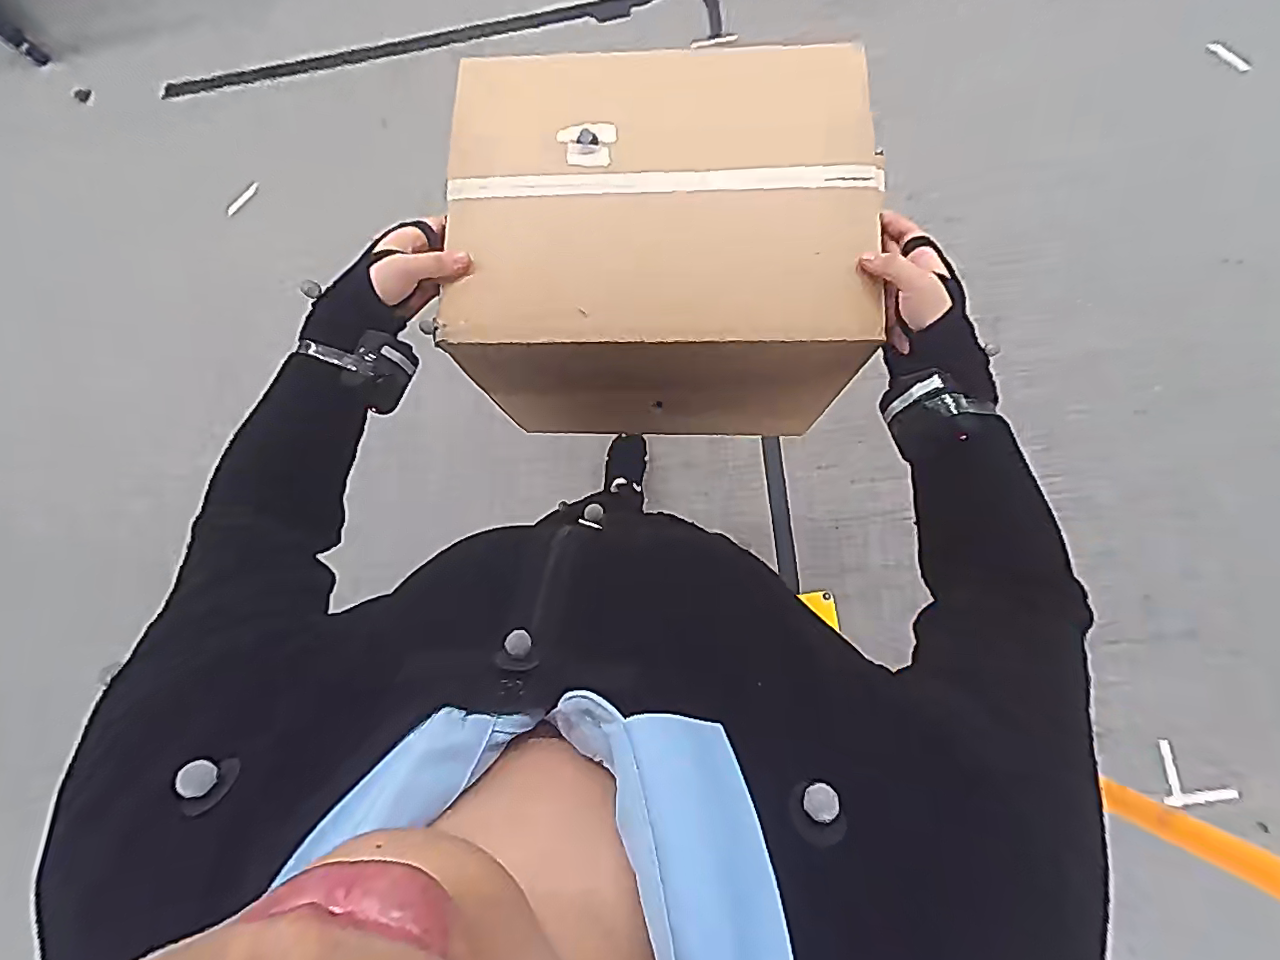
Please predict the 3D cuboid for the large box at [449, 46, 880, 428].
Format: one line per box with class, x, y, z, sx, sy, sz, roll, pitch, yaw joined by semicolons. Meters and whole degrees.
large box;0.032;-0.253;0.668;0.408;0.320;0.320;1;78;5
